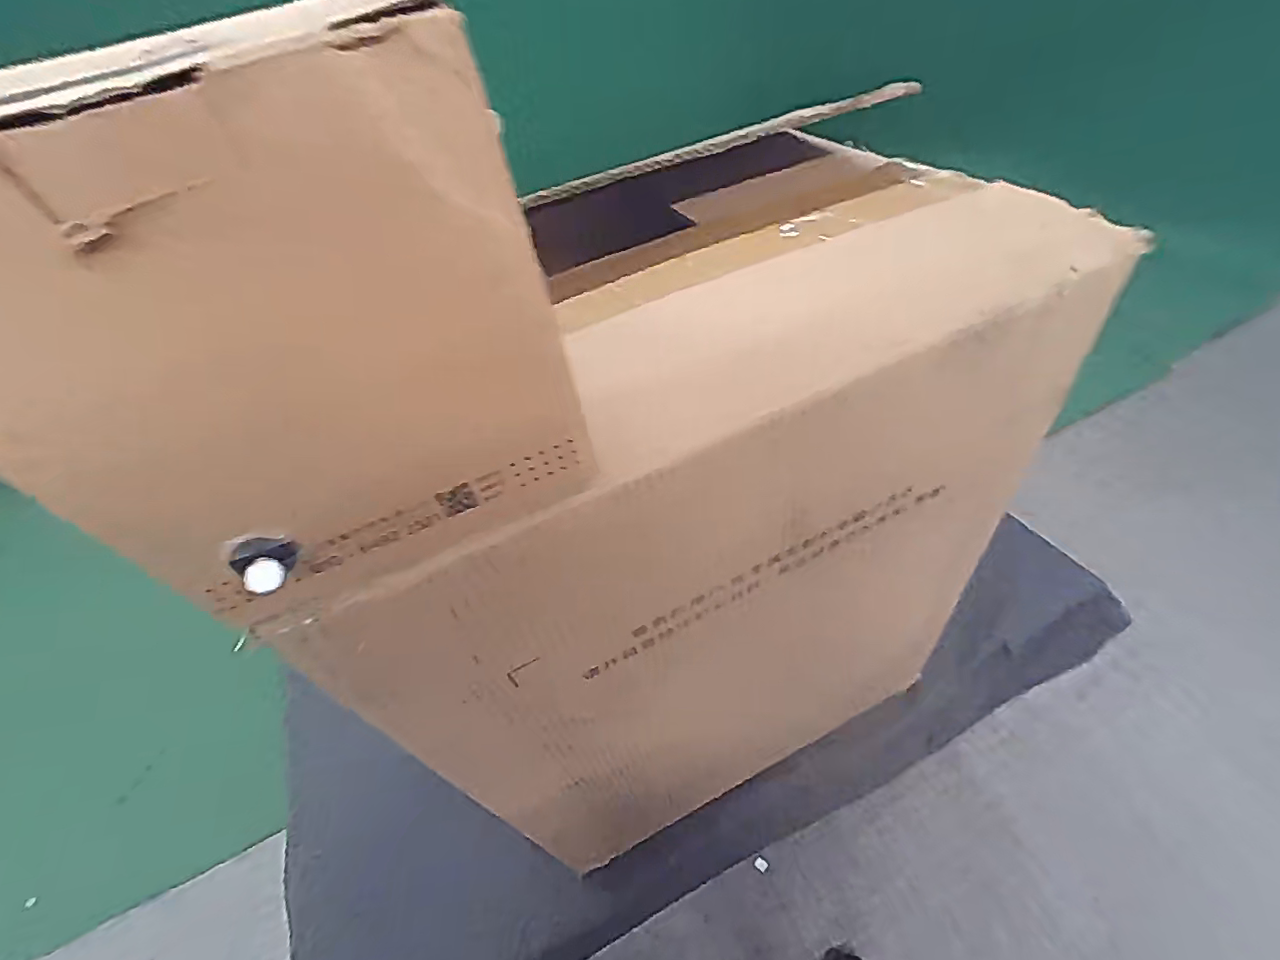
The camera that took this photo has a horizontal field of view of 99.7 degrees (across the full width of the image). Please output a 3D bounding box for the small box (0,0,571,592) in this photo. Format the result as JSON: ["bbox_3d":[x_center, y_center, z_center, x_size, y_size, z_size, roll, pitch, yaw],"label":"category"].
[{"bbox_3d":[-0.144,-0.076,0.231,0.168,0.176,0.179,-24,47,-9],"label":"small box"}]
